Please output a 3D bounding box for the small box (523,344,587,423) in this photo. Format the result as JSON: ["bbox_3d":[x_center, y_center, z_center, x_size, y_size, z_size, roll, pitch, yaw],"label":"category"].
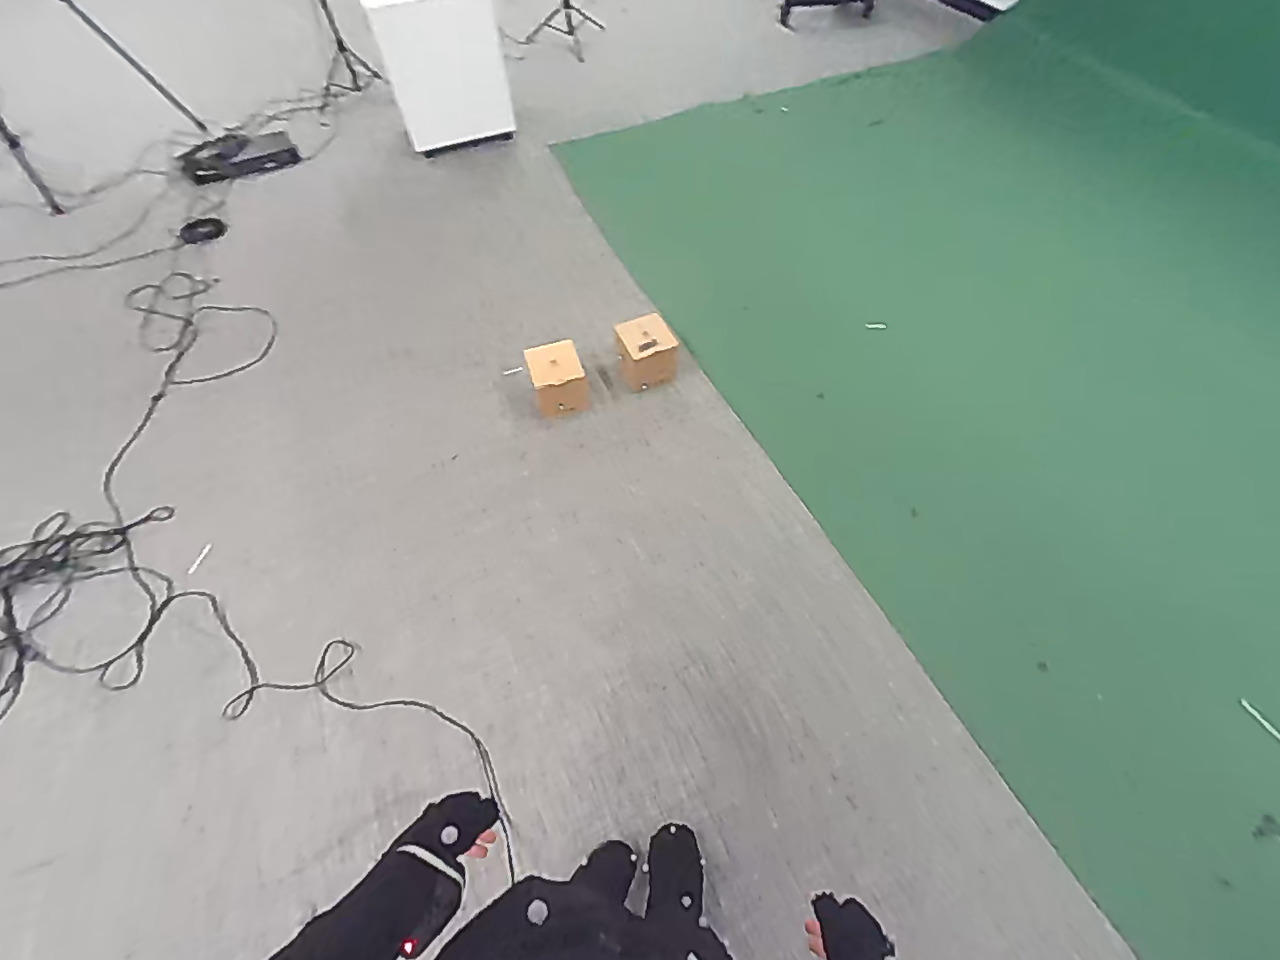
[{"bbox_3d":[-0.283,-0.321,1.811,0.168,0.176,0.179,-17,60,-10],"label":"small box"}]

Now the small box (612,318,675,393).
[{"bbox_3d":[0.013,-0.423,1.874,0.168,0.176,0.179,-21,60,-13],"label":"small box"}]
